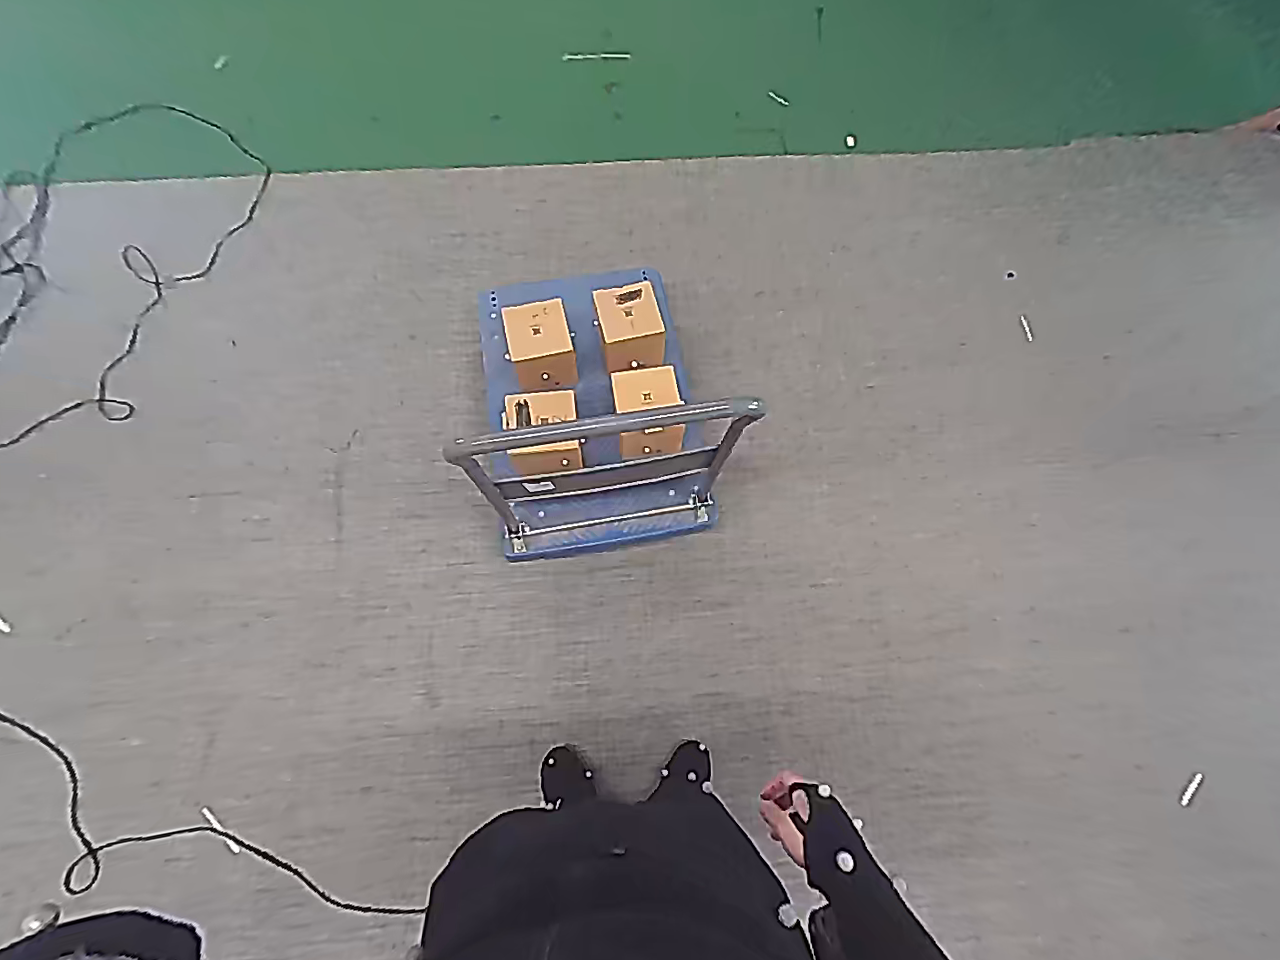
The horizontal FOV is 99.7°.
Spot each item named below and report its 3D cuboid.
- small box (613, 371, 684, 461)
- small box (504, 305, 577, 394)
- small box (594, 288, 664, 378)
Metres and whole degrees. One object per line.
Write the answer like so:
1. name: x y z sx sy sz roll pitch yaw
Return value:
1. small box: 0.016 -0.169 1.466 0.168 0.176 0.179 -8 69 -5
2. small box: -0.277 -0.361 1.533 0.168 0.176 0.179 -12 70 -7
3. small box: -0.034 -0.418 1.560 0.168 0.176 0.179 -13 71 -5
